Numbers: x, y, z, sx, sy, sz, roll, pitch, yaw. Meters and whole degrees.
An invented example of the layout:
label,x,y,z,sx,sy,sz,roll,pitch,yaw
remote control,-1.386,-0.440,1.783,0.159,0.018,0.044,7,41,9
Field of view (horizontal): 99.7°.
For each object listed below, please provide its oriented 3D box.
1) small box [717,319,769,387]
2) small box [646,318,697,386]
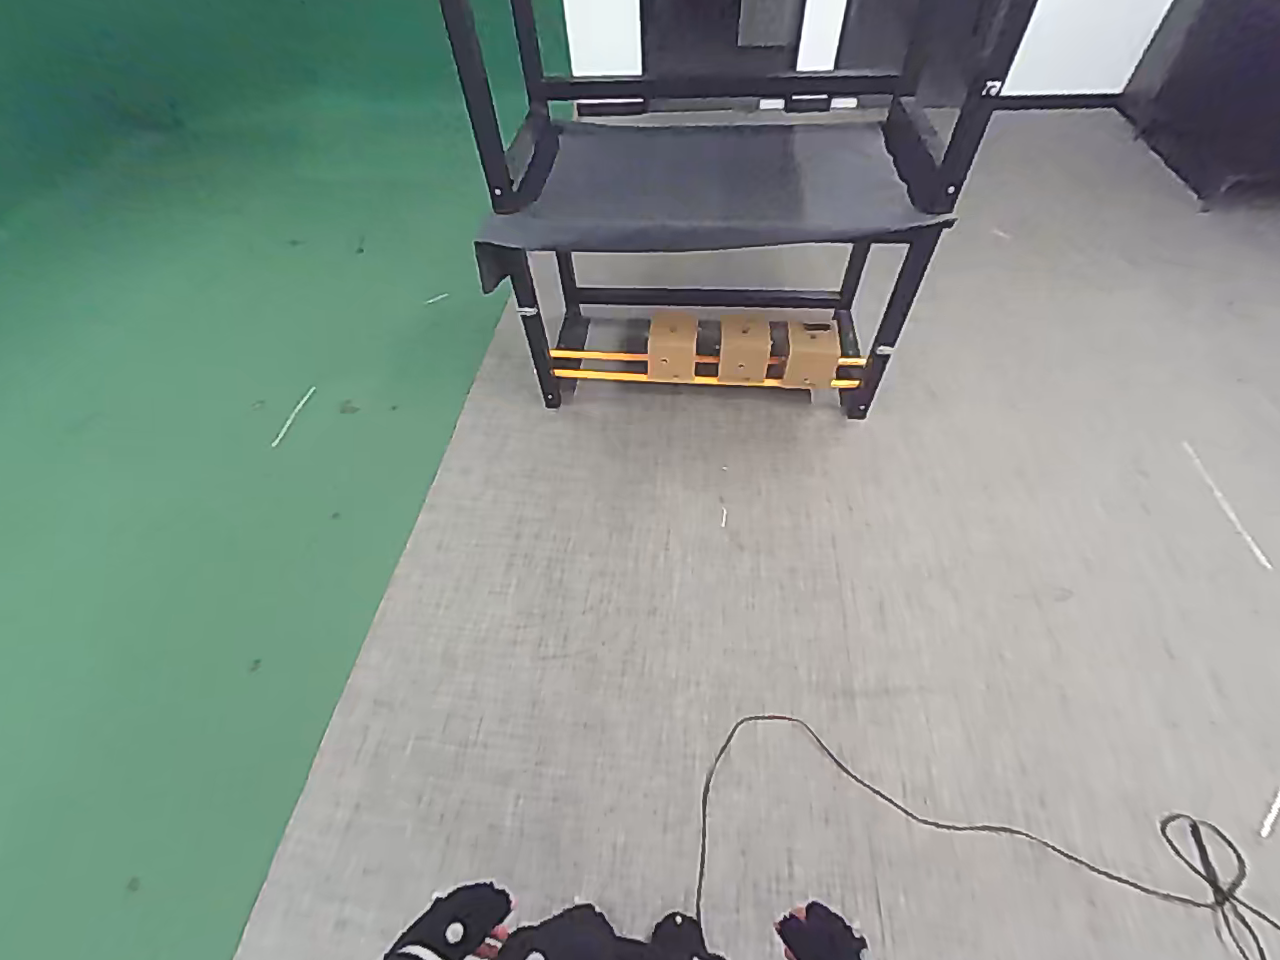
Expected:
label,x,y,z,sx,sy,sz,roll,pitch,yaw
small box,0.362,-0.448,1.916,0.168,0.176,0.179,3,54,5
small box,0.116,-0.457,1.938,0.168,0.176,0.179,4,54,5
